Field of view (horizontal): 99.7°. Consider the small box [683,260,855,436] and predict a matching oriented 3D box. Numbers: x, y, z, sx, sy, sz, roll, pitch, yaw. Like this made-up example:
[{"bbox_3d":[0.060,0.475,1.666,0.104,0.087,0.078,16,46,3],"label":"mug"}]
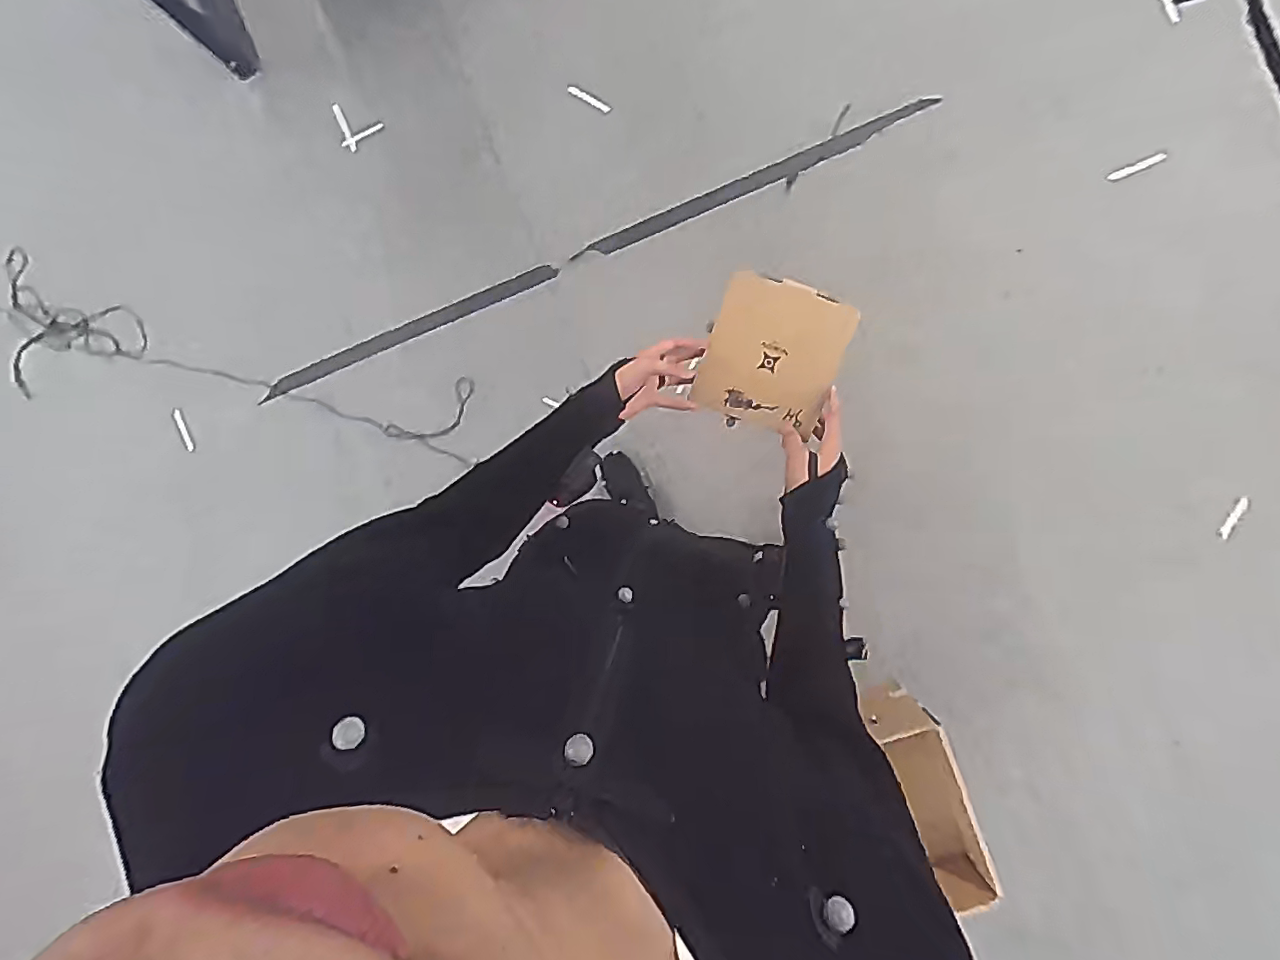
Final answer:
[{"bbox_3d":[0.168,-0.177,0.755,0.168,0.176,0.179,21,102,4],"label":"small box"}]
